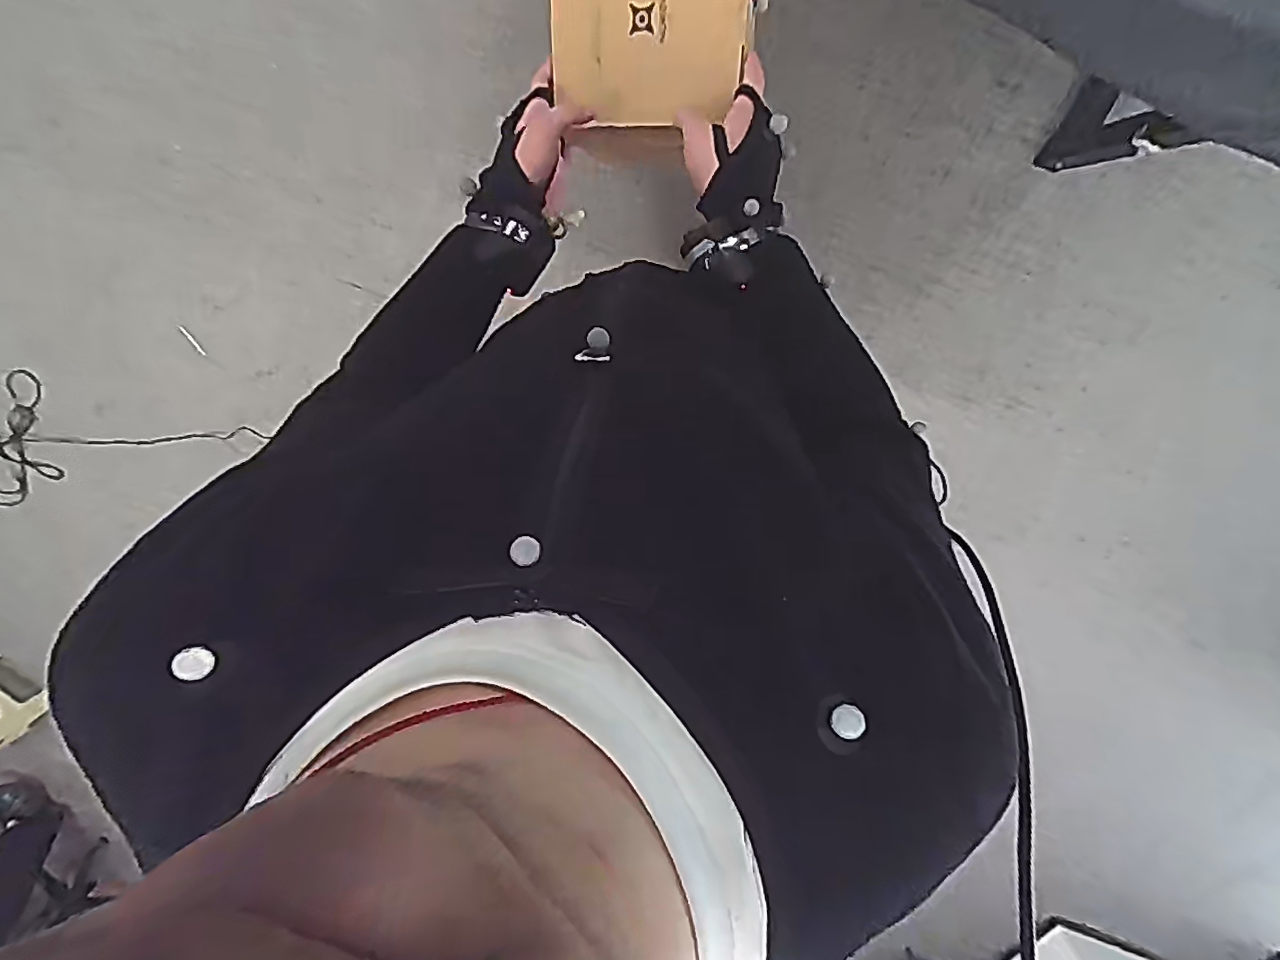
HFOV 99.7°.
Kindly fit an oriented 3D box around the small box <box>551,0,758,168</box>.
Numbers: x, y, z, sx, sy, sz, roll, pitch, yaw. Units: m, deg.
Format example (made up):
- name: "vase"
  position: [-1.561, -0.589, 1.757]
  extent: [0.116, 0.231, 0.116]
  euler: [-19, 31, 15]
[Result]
- name: "small box"
  position: [0.022, -0.421, 0.534]
  extent: [0.179, 0.176, 0.168]
  euler: [7, 108, 9]
